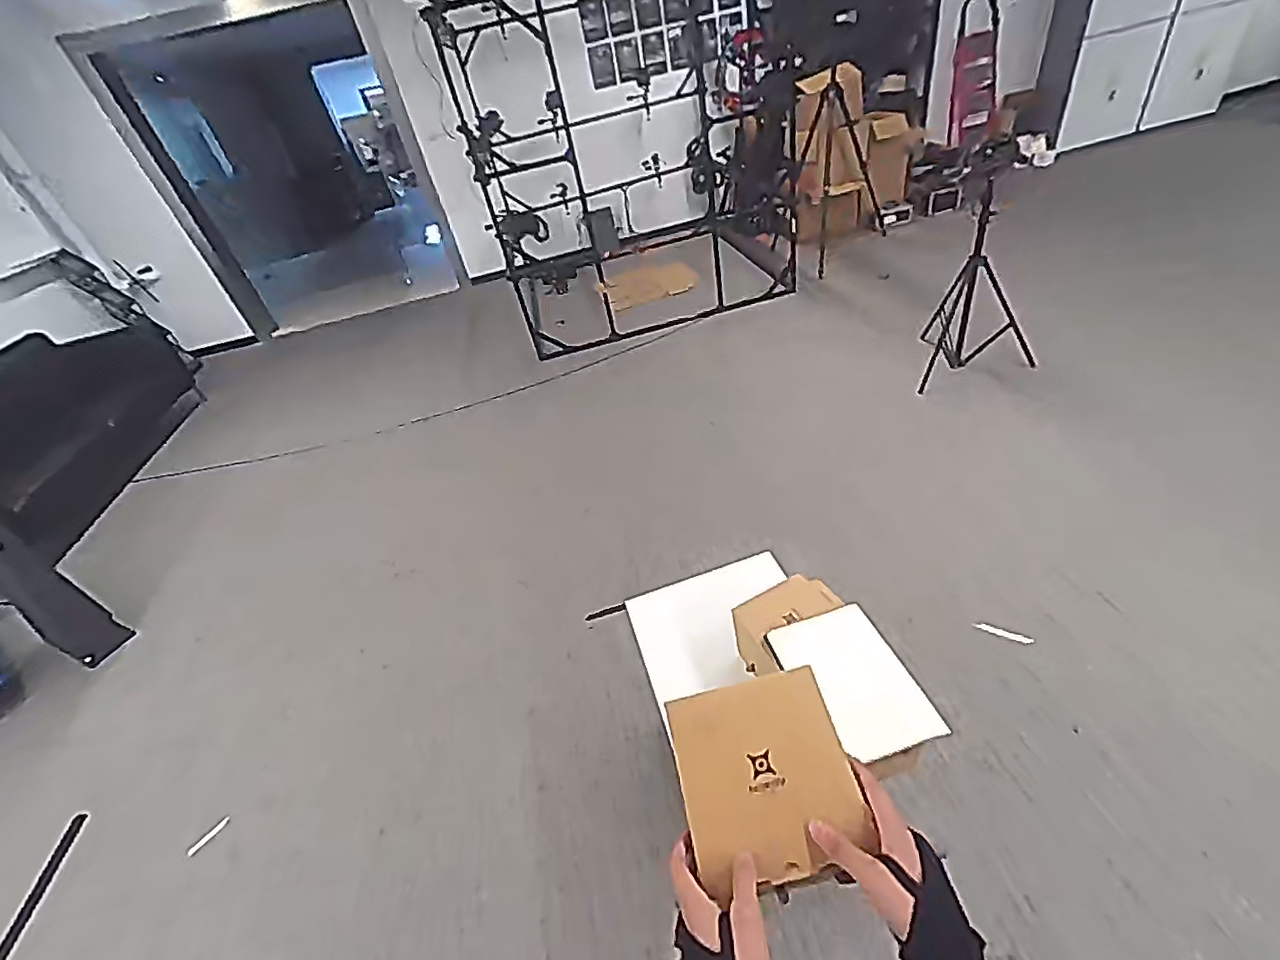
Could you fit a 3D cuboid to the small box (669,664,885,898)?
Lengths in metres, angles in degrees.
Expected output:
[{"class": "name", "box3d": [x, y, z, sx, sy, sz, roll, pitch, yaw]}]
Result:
[{"class": "small box", "box3d": [0.137, 0.332, 0.592, 0.168, 0.176, 0.179, -16, 50, 2]}]
